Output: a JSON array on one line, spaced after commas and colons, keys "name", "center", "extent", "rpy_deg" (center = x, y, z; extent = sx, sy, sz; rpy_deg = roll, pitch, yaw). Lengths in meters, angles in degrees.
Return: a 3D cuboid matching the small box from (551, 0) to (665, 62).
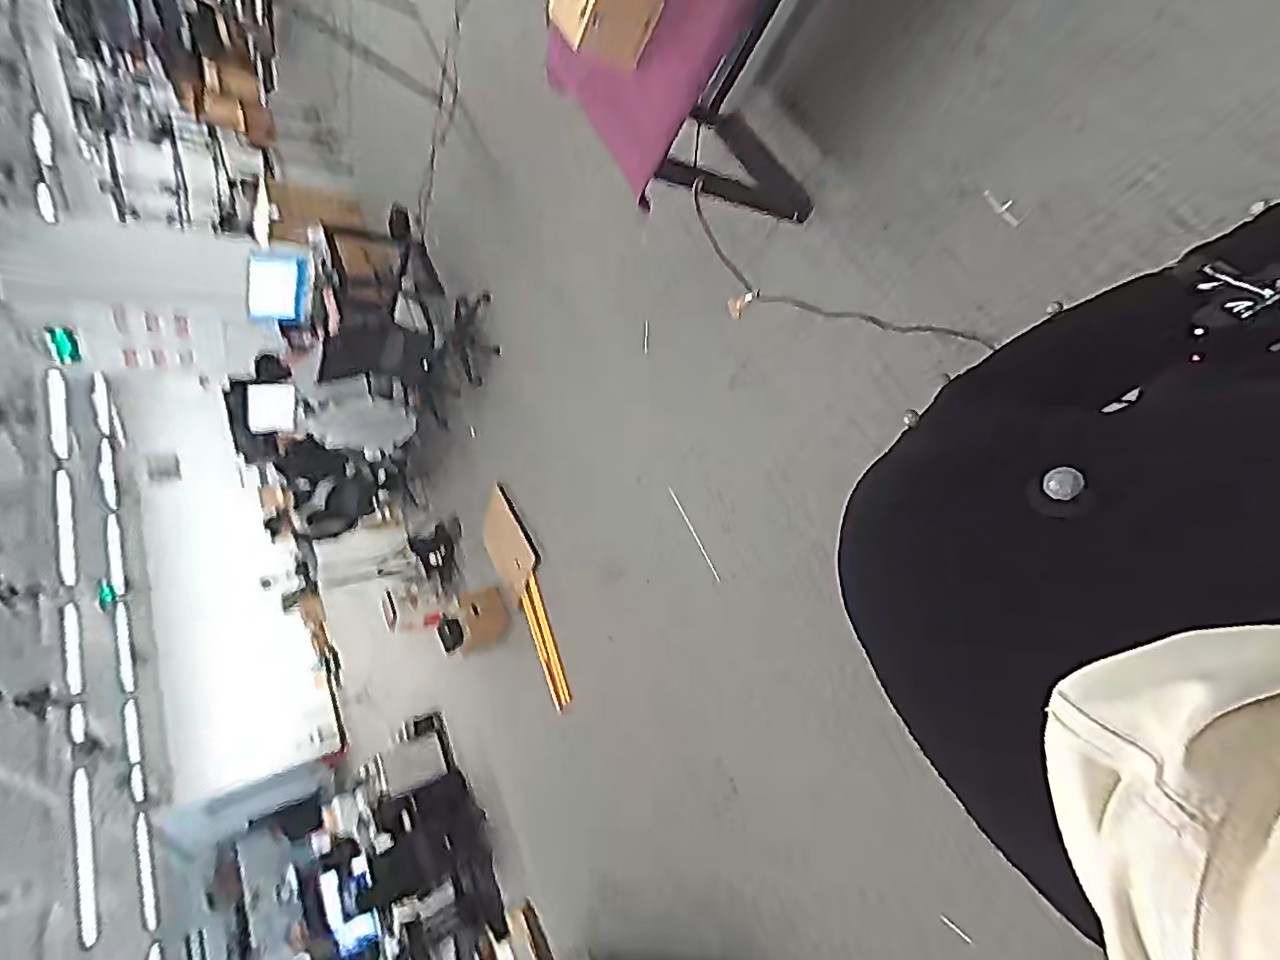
[{"name": "small box", "center": [-0.073, -1.104, 1.232], "extent": [0.168, 0.176, 0.179], "rpy_deg": [-48, 61, 45]}]
